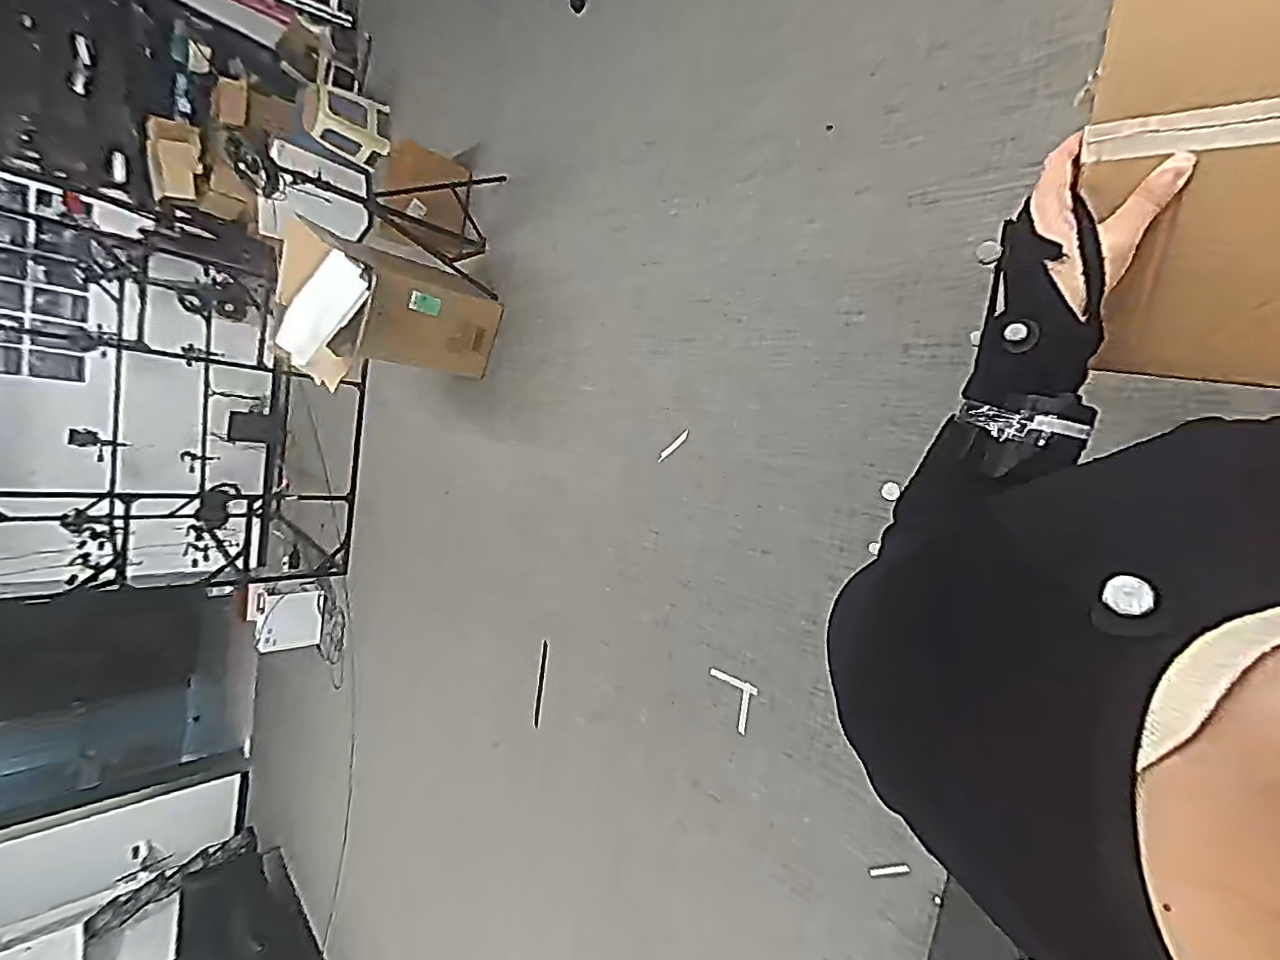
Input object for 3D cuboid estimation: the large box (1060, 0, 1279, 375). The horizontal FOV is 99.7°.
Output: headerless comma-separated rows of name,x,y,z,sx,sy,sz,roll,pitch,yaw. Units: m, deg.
large box,0.525,-0.255,0.285,0.408,0.320,0.320,19,140,42
